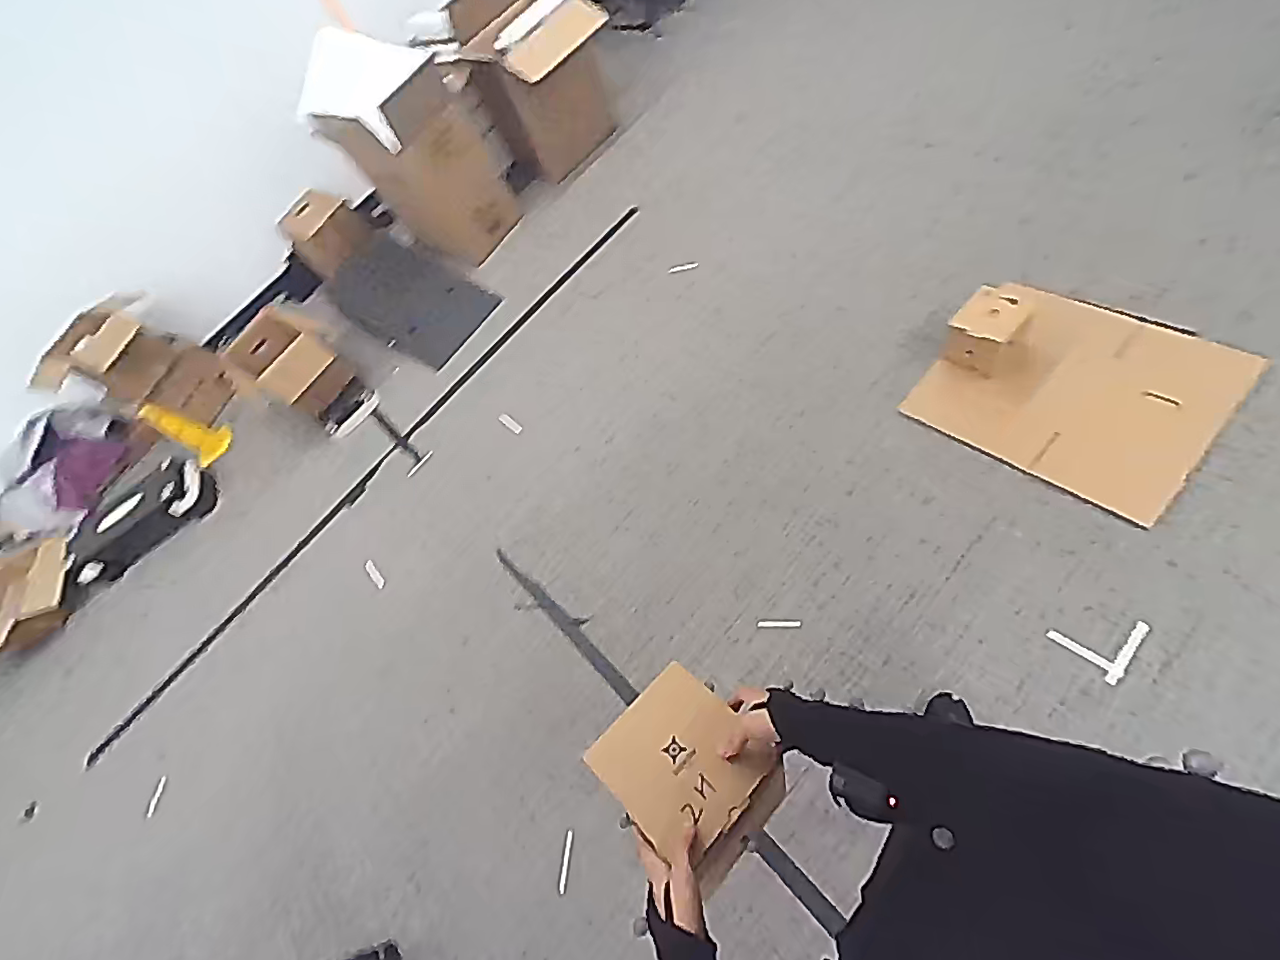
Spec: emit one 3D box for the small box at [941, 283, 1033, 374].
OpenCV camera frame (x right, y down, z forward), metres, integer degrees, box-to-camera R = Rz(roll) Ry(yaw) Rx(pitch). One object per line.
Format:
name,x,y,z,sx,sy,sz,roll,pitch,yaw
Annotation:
small box,1.046,-0.456,1.647,0.179,0.176,0.168,-47,56,-6

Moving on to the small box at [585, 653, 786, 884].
small box,0.063,0.361,0.677,0.168,0.176,0.179,-40,50,-21
